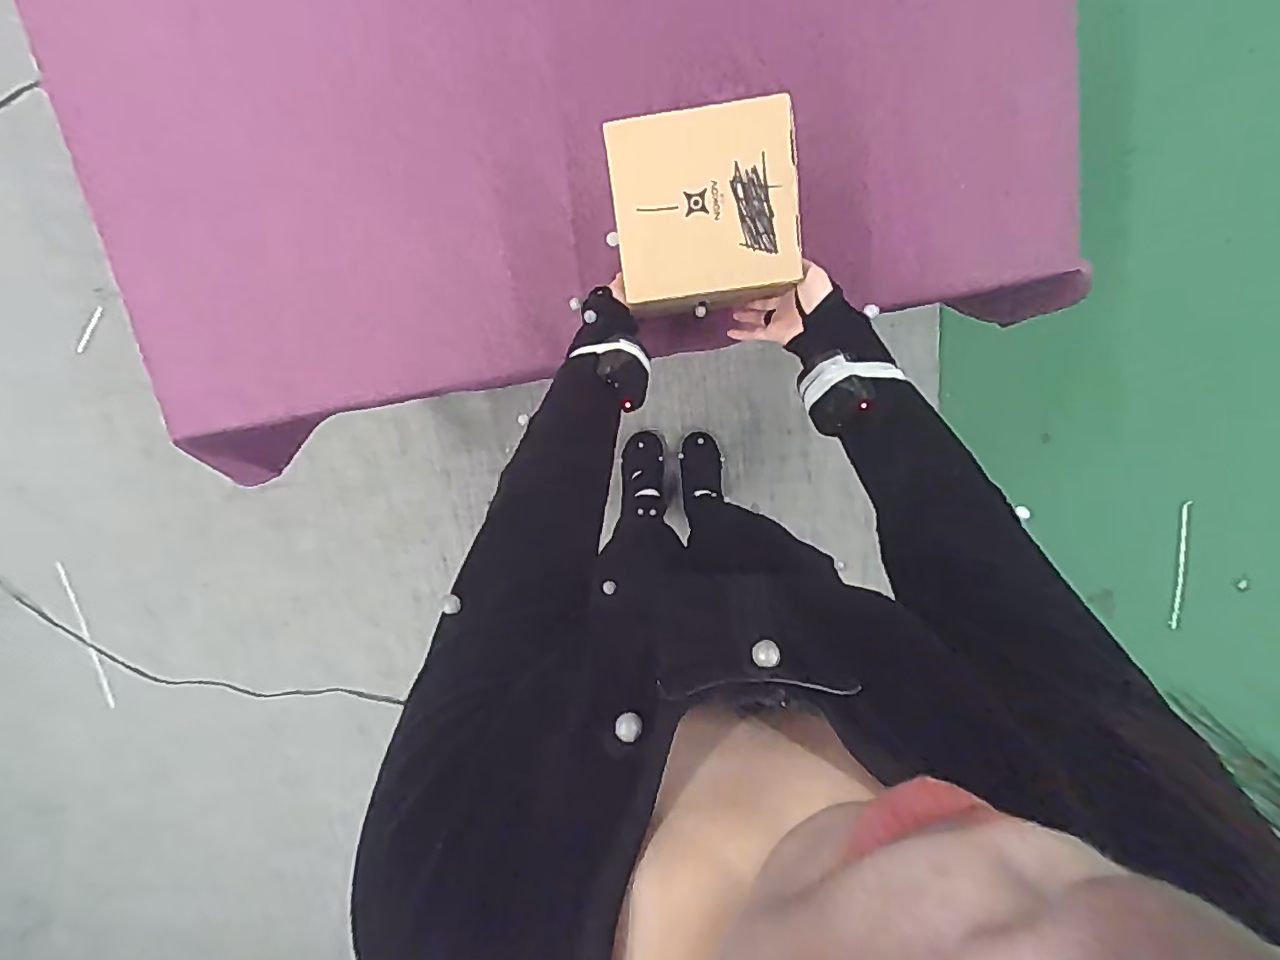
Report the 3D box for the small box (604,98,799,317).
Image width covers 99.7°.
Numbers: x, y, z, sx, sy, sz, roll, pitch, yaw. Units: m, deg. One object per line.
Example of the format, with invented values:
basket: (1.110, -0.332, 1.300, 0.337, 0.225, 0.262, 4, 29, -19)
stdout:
small box: (0.063, -0.278, 0.590, 0.179, 0.176, 0.168, -7, 101, 4)
